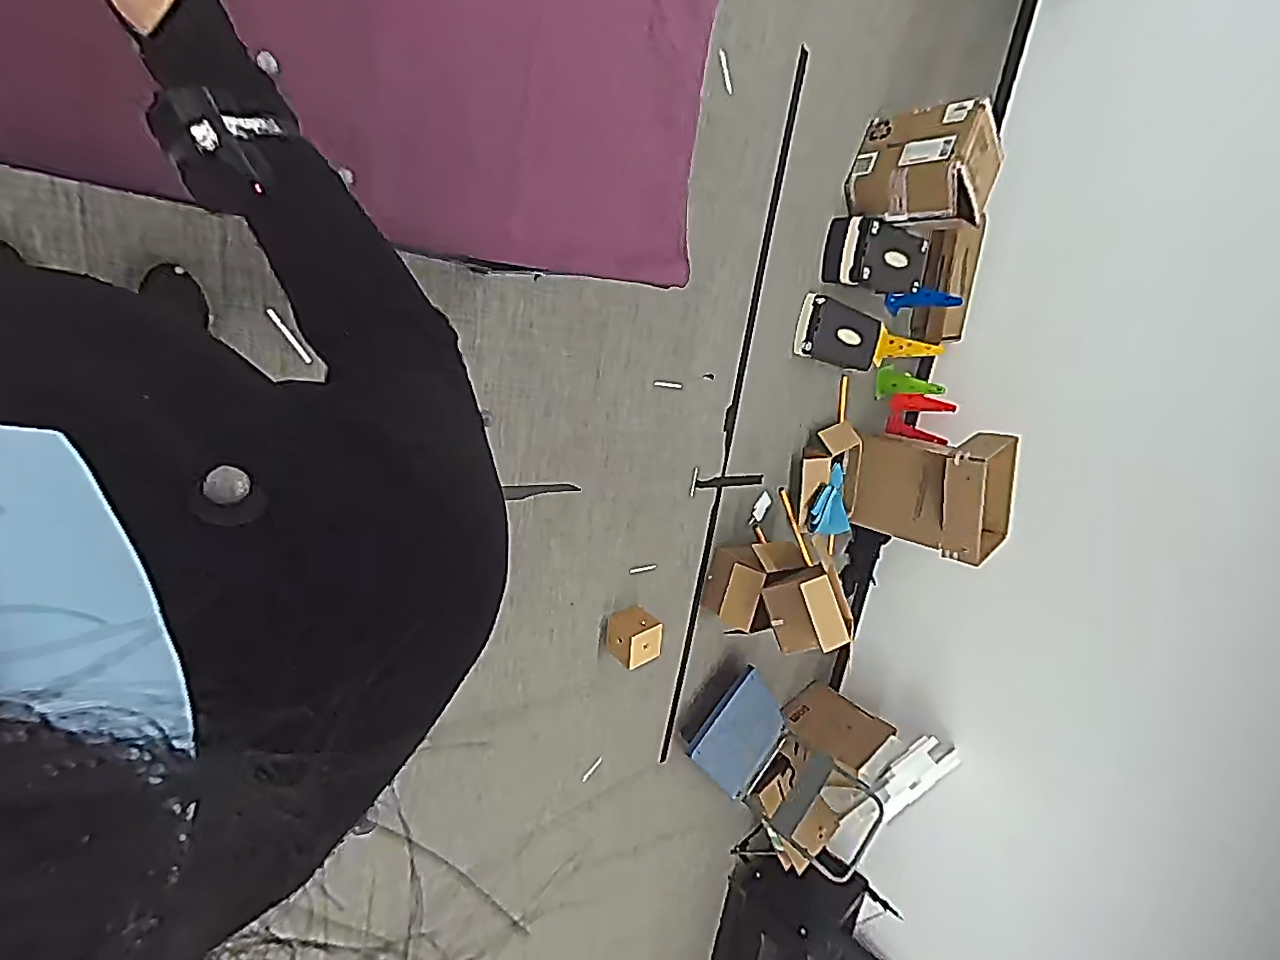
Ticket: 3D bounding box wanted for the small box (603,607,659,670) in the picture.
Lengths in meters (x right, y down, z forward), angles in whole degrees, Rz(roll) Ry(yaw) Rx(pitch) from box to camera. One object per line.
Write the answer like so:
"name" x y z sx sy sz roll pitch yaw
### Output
"small box" -0.043 0.672 2.307 0.179 0.176 0.168 -12 115 -41
